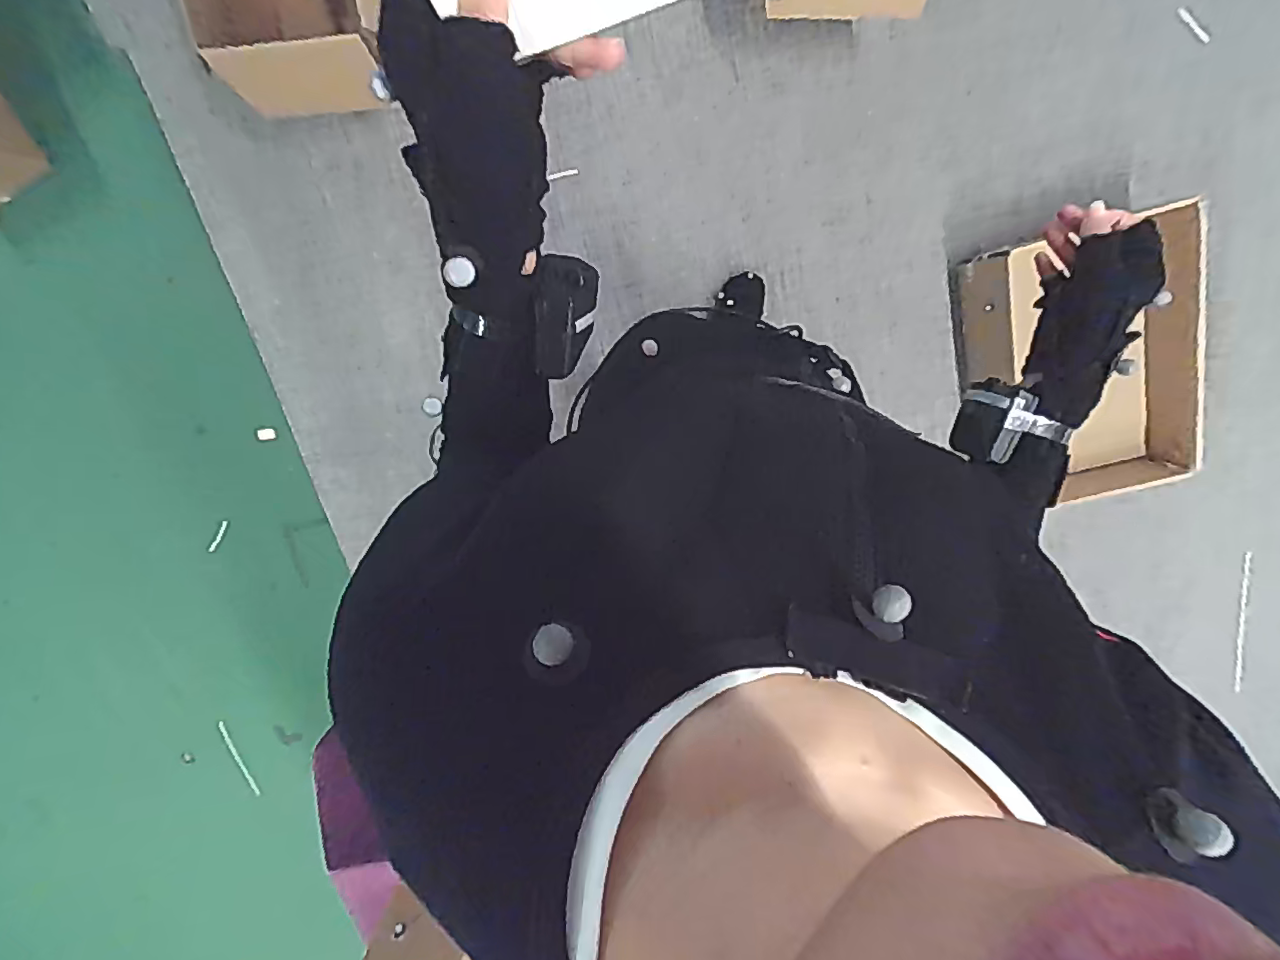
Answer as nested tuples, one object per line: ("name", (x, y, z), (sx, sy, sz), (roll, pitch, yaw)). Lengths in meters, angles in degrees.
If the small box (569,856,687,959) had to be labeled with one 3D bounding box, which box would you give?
("small box", (-0.011, 0.751, 0.873), (0.168, 0.176, 0.179), (-6, 107, 3))
